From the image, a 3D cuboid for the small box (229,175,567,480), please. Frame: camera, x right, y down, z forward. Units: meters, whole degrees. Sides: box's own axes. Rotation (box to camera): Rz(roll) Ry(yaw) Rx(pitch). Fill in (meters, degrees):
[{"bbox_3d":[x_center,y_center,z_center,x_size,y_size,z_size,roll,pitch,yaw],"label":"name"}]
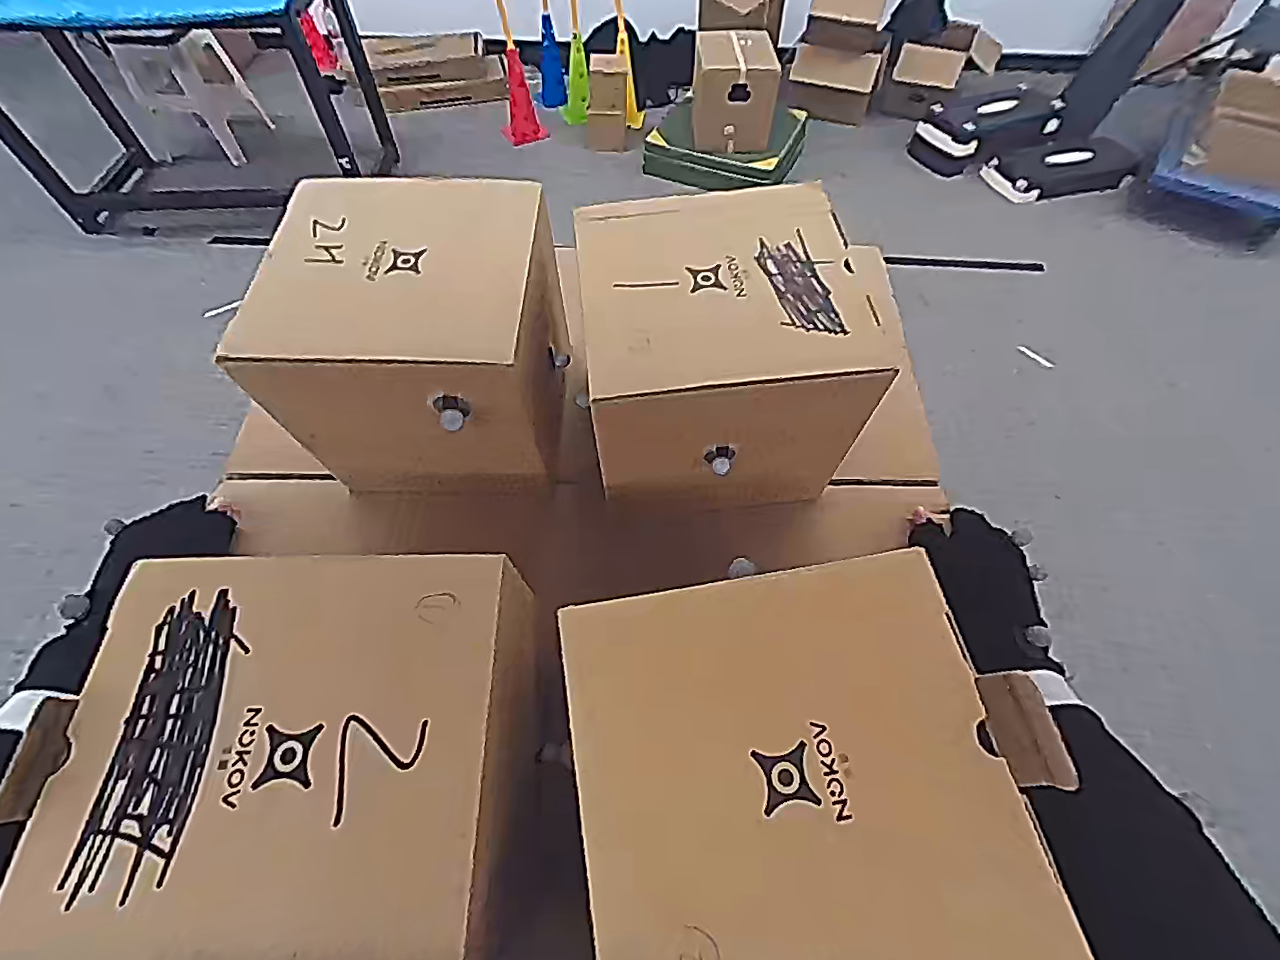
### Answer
[{"bbox_3d":[-0.158,-0.110,0.430,0.179,0.176,0.168,2,62,2],"label":"small box"}]
